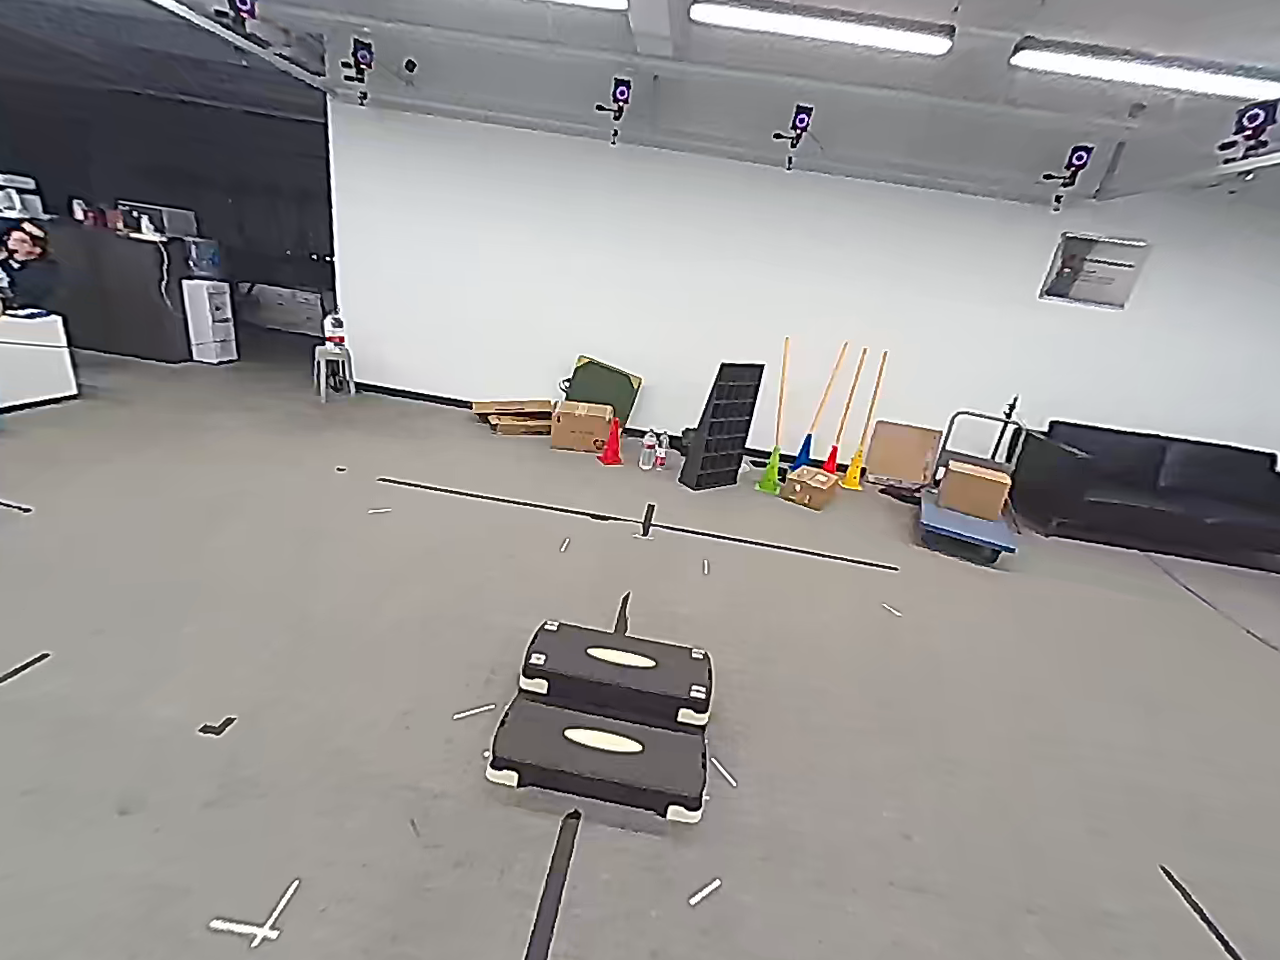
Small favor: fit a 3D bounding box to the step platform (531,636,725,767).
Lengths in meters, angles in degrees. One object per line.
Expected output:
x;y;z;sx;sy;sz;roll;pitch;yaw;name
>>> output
-0.037;0.782;1.954;0.684;0.204;0.286;12;19;8;step platform
